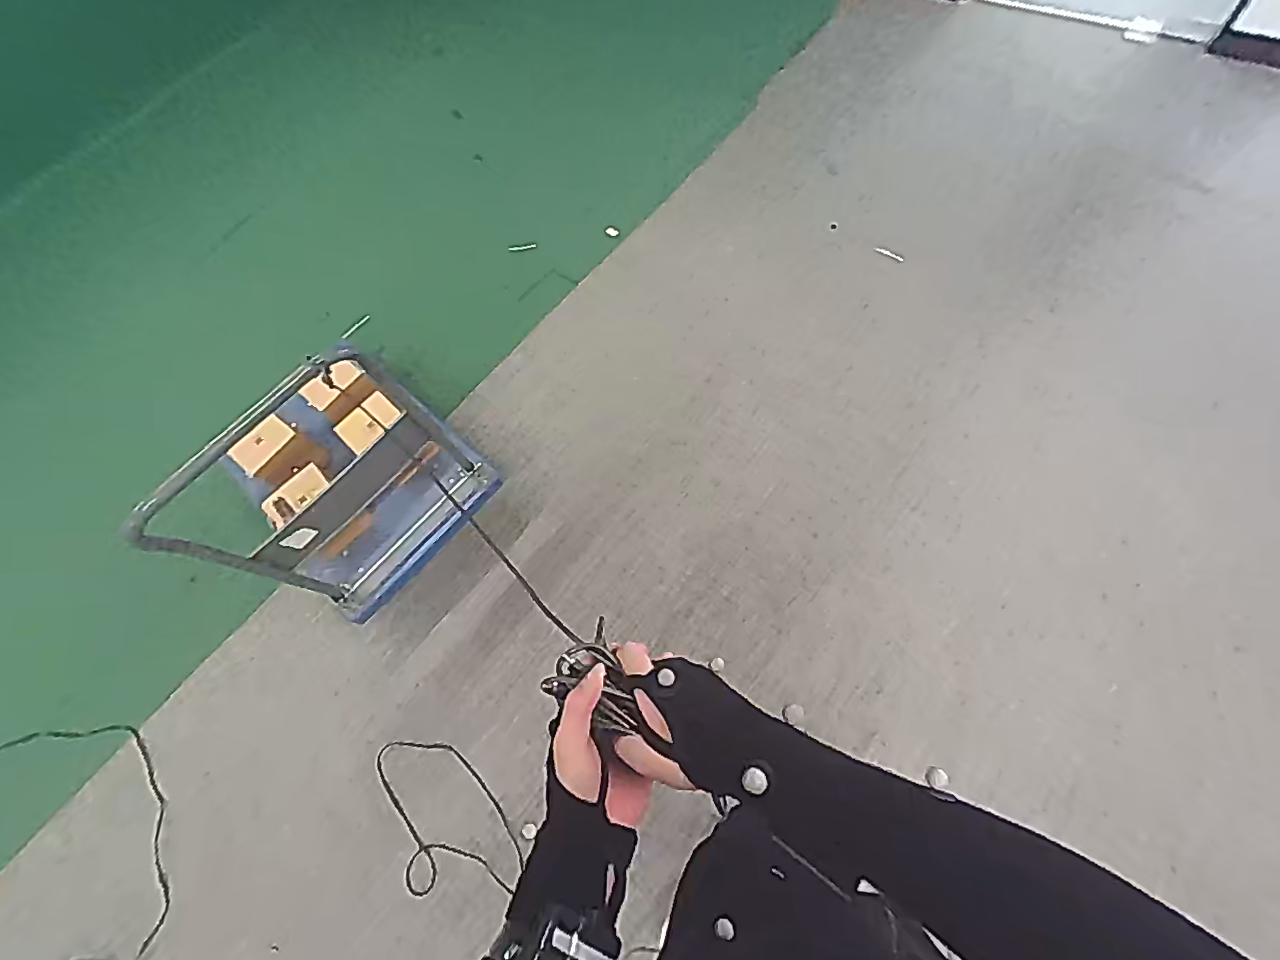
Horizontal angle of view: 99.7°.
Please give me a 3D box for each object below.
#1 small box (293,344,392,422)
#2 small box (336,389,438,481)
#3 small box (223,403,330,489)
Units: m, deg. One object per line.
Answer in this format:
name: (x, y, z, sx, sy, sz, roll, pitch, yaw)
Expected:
small box: (-0.919, -0.281, 1.684, 0.179, 0.176, 0.168, 37, 78, 20)
small box: (-0.737, -0.125, 1.588, 0.179, 0.176, 0.168, 40, 78, 21)
small box: (-1.086, -0.094, 1.630, 0.179, 0.176, 0.168, 35, 76, 21)
